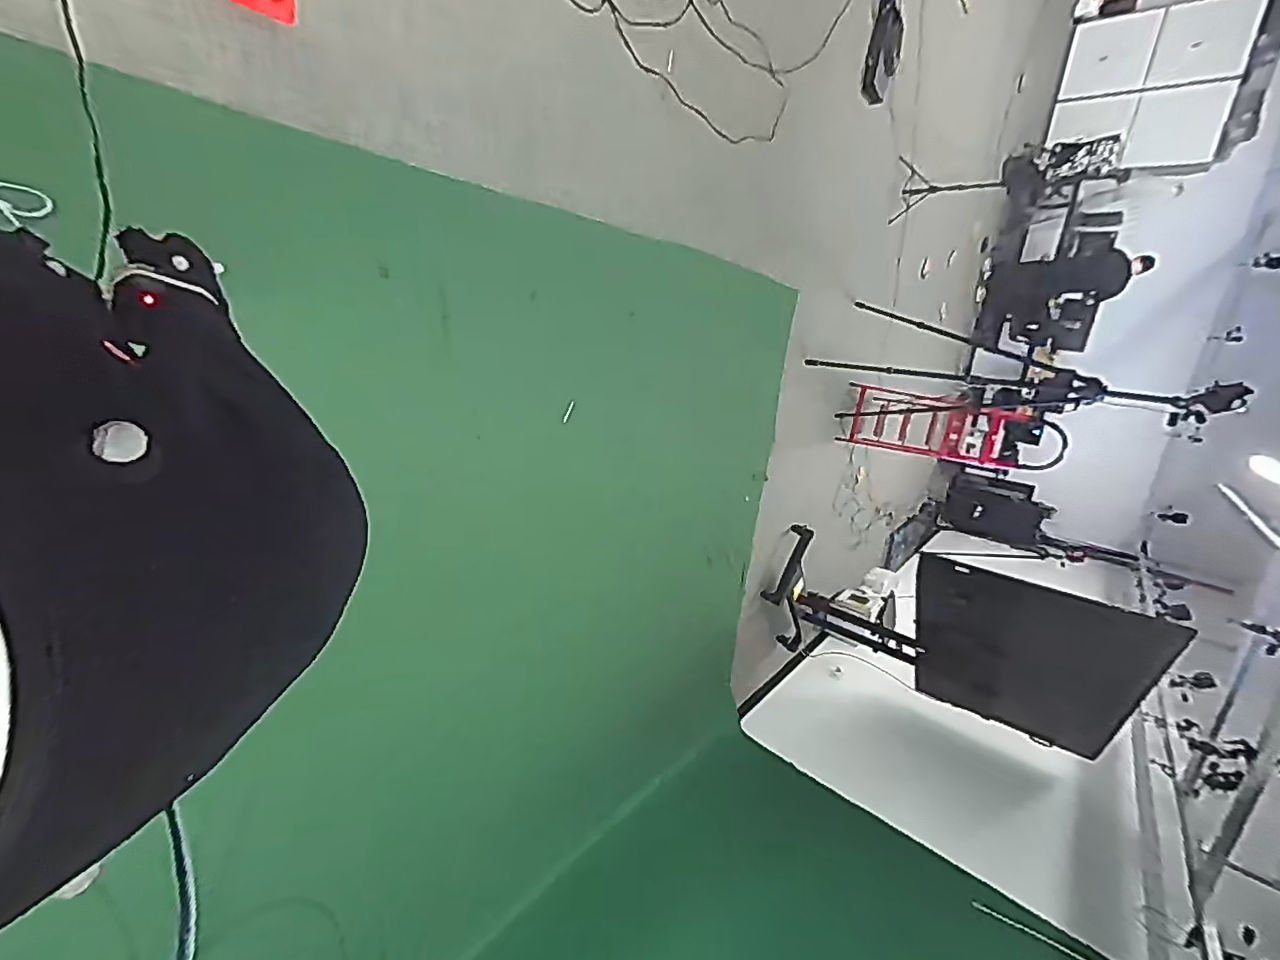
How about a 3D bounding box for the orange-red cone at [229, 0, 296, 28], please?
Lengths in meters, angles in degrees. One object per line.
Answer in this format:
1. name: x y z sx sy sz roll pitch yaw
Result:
1. orange-red cone: -0.662 -1.006 0.966 0.198 0.360 0.199 -12 113 -49
